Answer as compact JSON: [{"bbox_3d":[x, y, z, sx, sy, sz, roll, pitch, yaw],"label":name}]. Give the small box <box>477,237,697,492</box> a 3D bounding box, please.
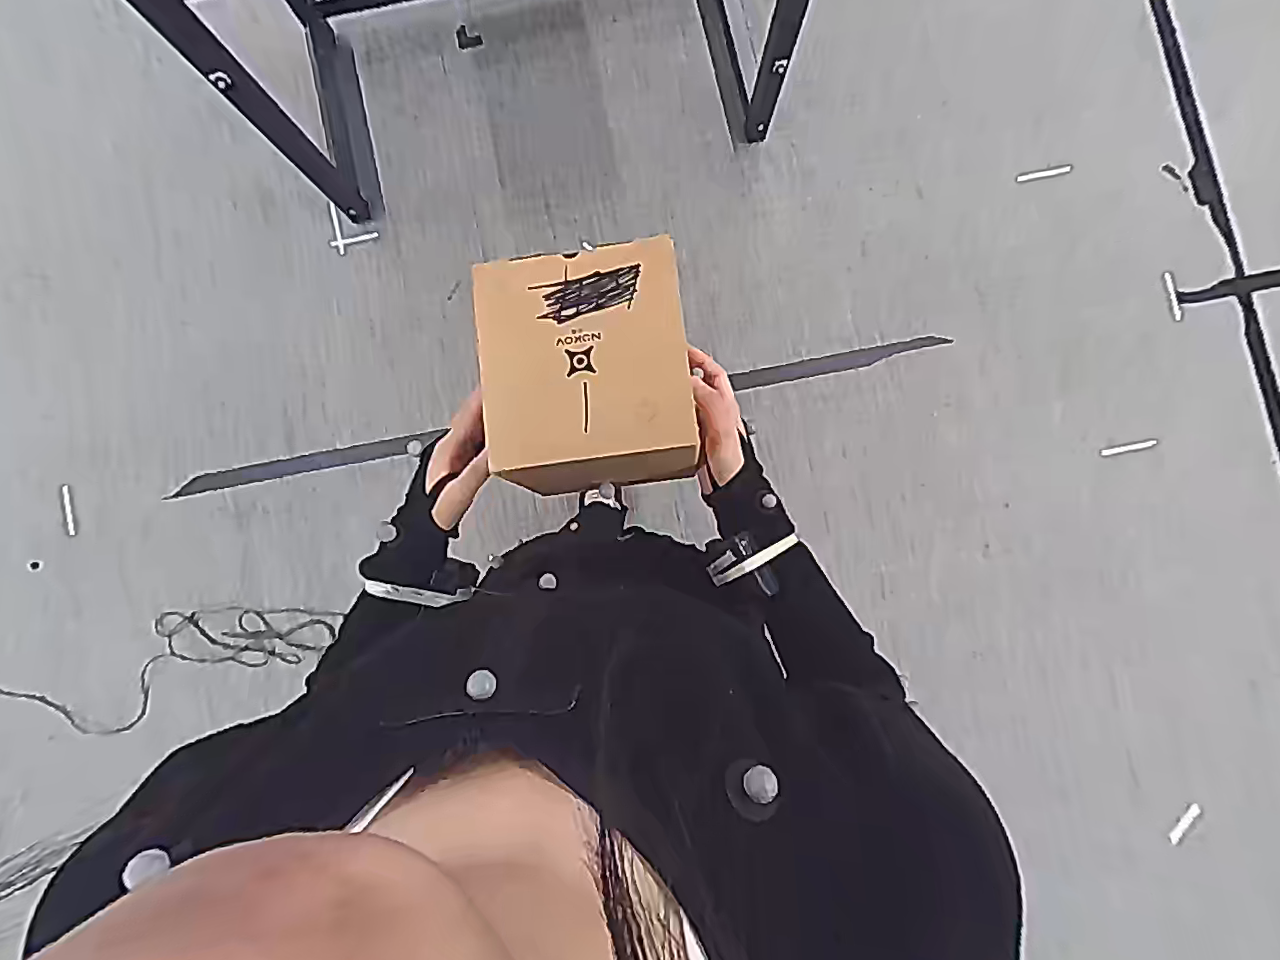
[{"bbox_3d":[-0.041,-0.093,0.509,0.168,0.176,0.179,-7,81,4],"label":"small box"}]
